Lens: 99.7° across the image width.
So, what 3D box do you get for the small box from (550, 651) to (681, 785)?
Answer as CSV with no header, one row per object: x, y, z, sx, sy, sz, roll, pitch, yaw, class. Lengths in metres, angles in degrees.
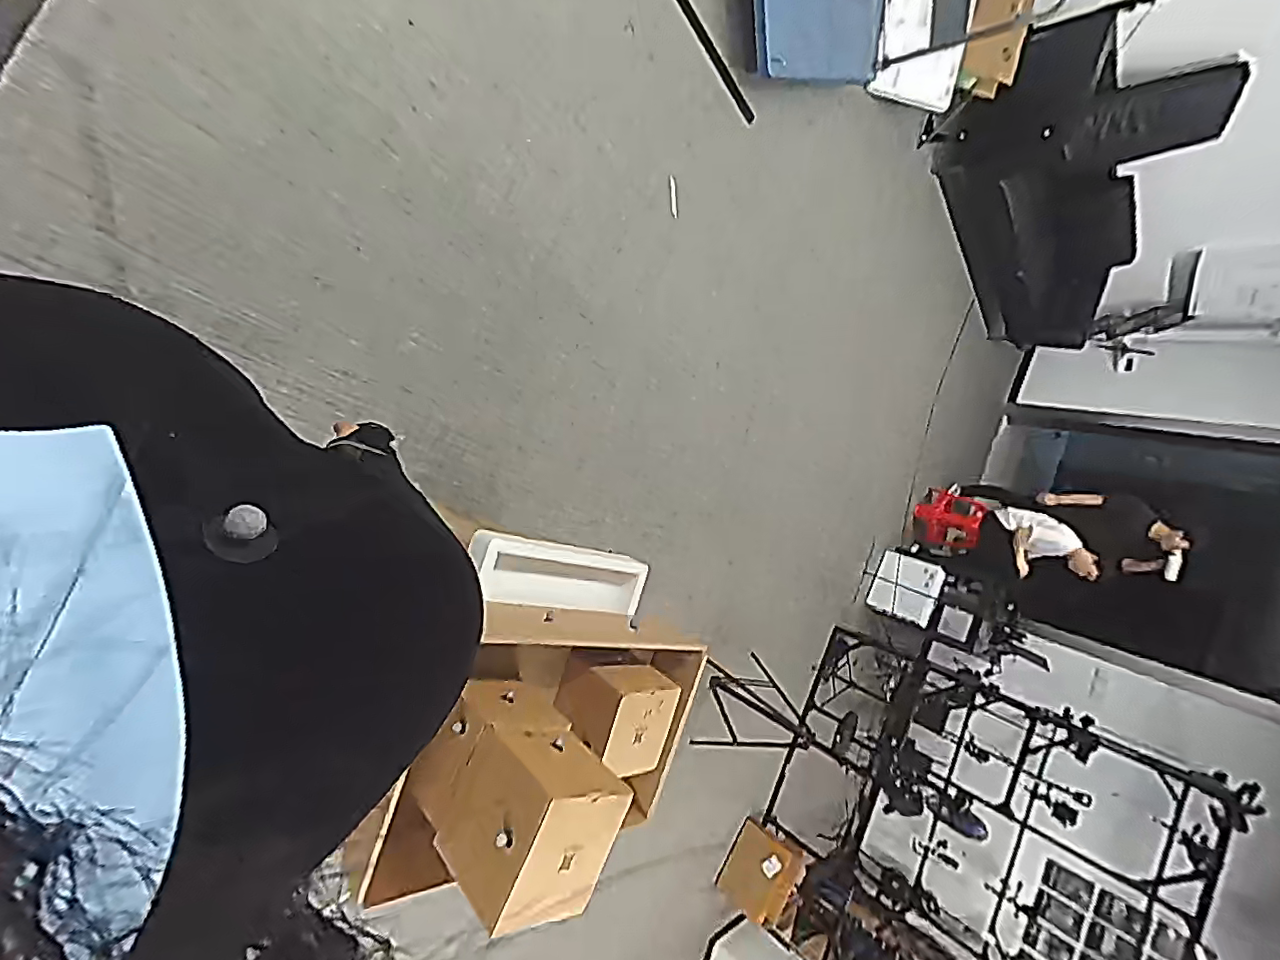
-0.054,0.458,1.069,0.168,0.176,0.179,17,92,-45,small box
